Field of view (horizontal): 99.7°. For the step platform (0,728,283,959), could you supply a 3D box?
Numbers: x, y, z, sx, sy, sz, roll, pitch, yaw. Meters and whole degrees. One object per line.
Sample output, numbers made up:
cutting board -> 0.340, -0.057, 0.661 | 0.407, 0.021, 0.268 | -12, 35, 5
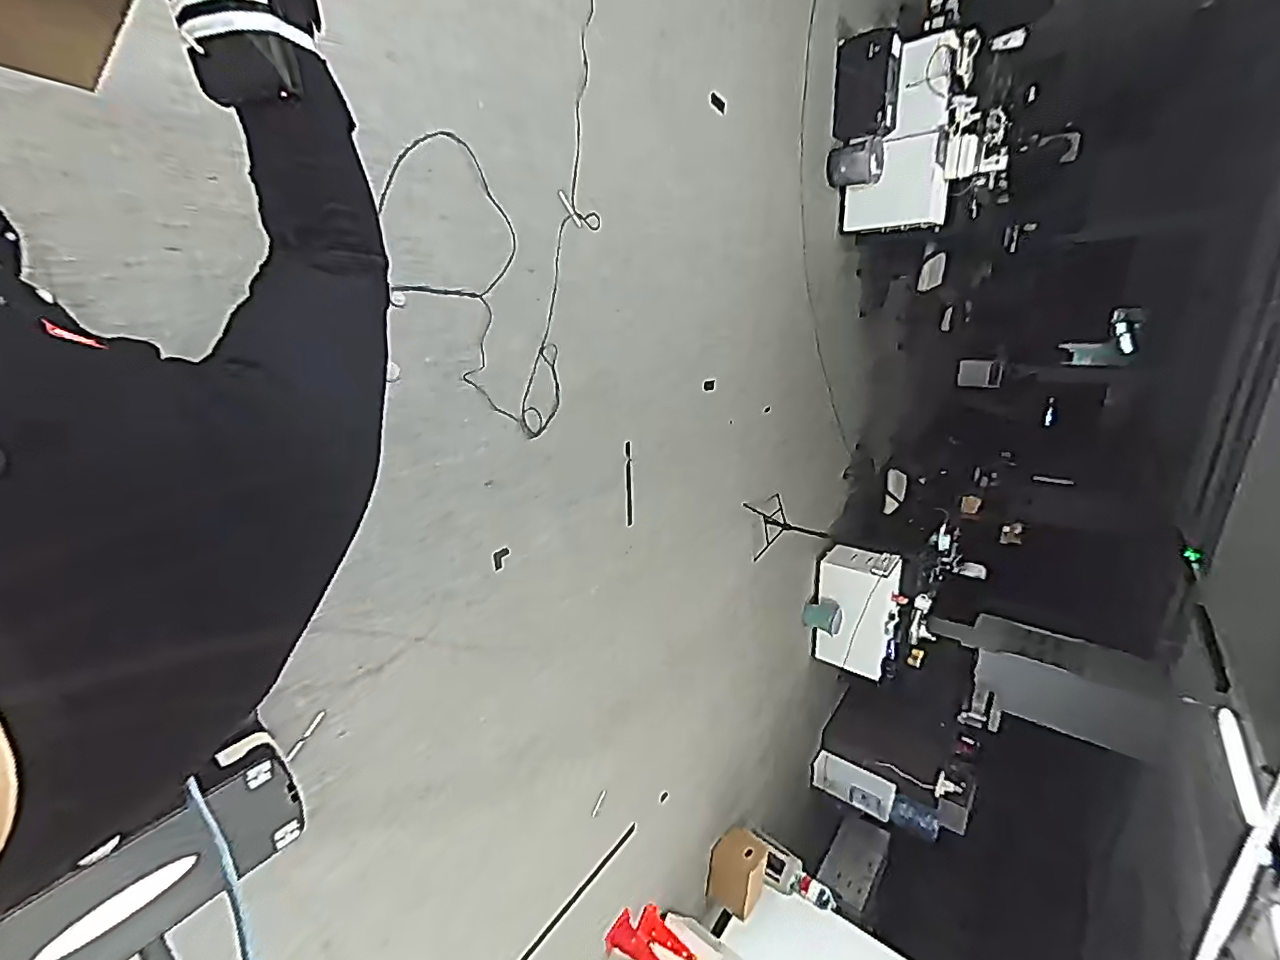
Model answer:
step platform -> -1.148, 0.851, 1.115 | 0.684, 0.204, 0.286 | -26, 120, -45

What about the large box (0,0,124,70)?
large box -> -0.516, -0.460, 0.226 | 0.408, 0.320, 0.320 | -12, 113, -49
